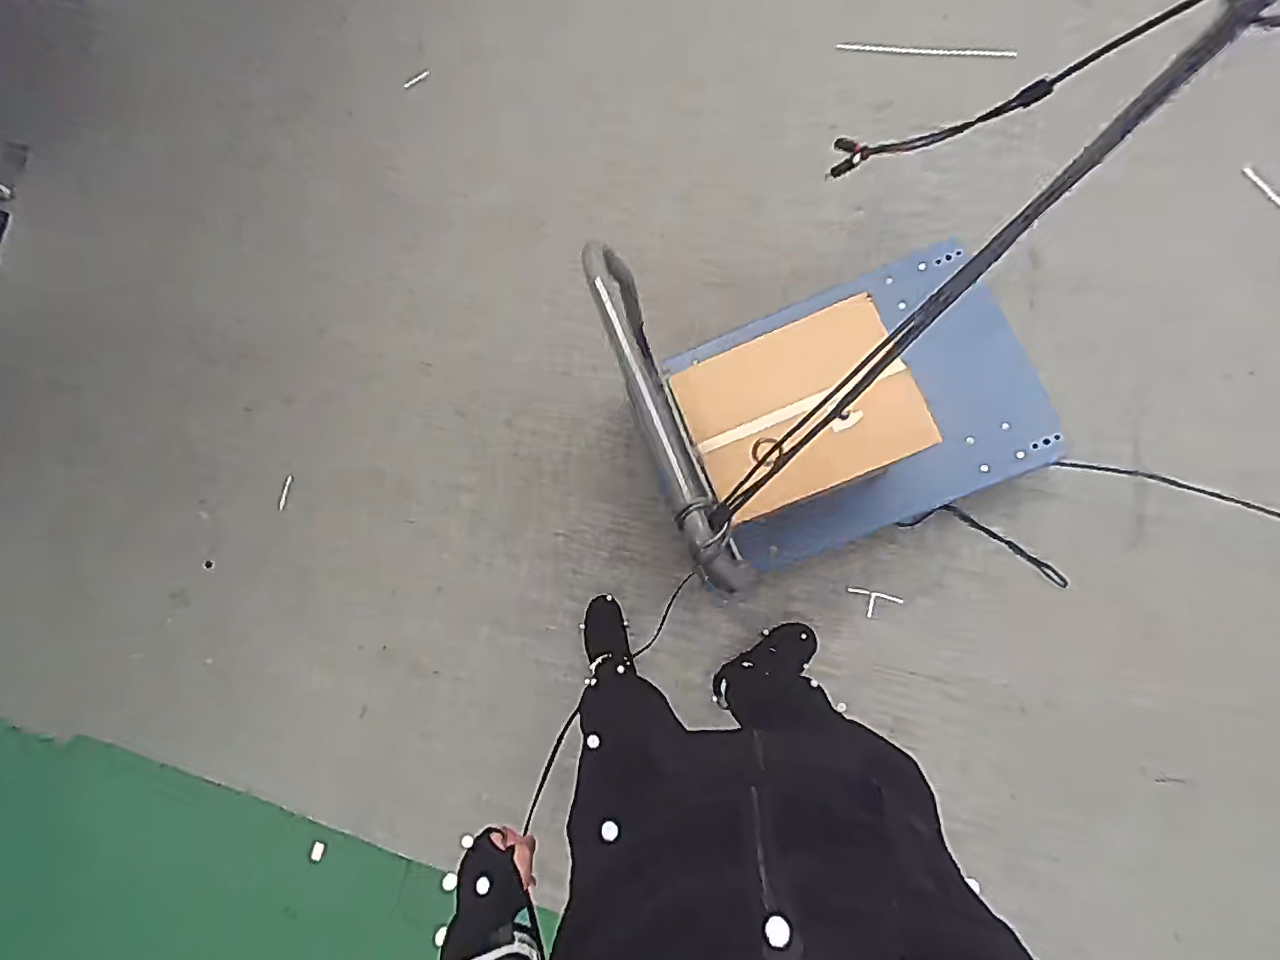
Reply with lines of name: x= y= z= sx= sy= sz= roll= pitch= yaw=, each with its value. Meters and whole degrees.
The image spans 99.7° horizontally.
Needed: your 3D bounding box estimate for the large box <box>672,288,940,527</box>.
large box: x=0.316 y=-0.122 z=1.139 sx=0.408 sy=0.320 sz=0.320 roll=-22 pitch=80 yaw=5
